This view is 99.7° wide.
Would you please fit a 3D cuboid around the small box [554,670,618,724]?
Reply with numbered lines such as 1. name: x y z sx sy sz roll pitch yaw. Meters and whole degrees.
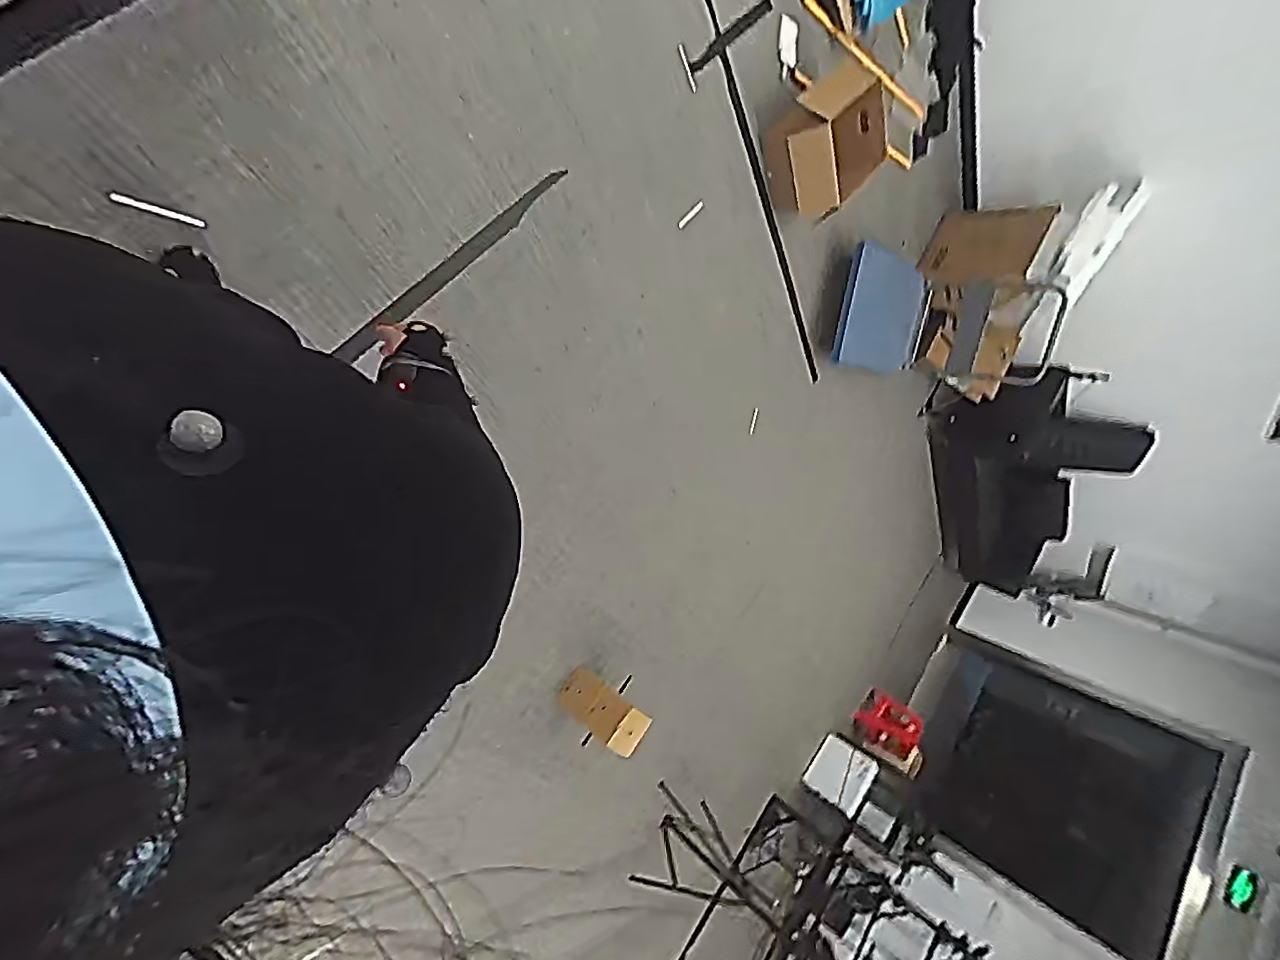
1. small box: -0.220 0.908 2.223 0.168 0.176 0.179 -54 135 -15

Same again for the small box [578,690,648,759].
1. small box: -0.108 0.951 2.113 0.168 0.176 0.179 -53 134 -17
